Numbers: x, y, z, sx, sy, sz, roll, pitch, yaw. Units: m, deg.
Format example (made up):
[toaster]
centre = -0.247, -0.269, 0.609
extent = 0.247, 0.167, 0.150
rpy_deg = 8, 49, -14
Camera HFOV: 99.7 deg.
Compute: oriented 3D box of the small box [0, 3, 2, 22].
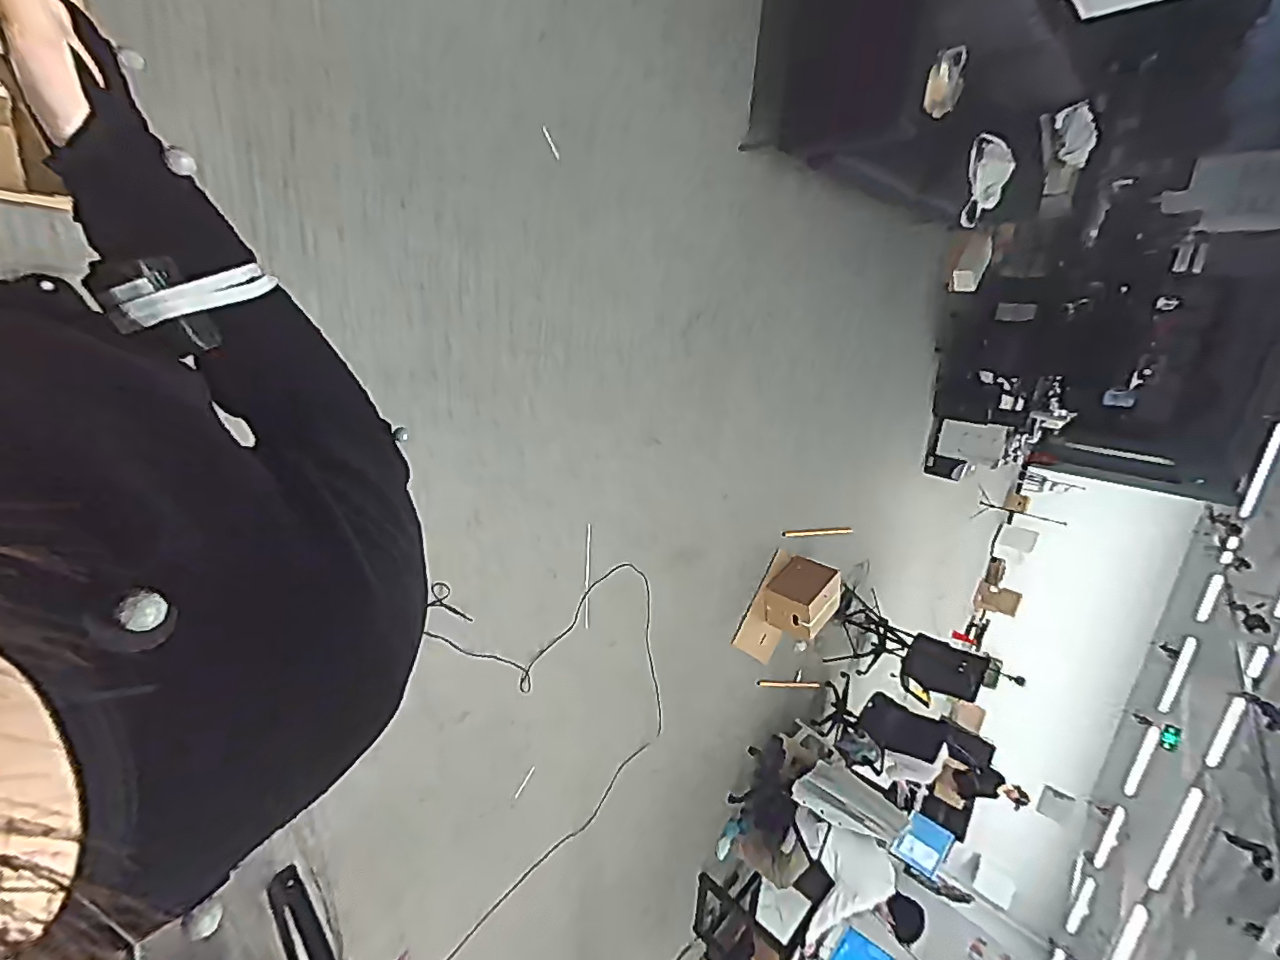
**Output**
[small box]
centre = -0.386, -0.299, 0.200
extent = 0.168, 0.176, 0.179
rpy_deg = -16, 126, -42
